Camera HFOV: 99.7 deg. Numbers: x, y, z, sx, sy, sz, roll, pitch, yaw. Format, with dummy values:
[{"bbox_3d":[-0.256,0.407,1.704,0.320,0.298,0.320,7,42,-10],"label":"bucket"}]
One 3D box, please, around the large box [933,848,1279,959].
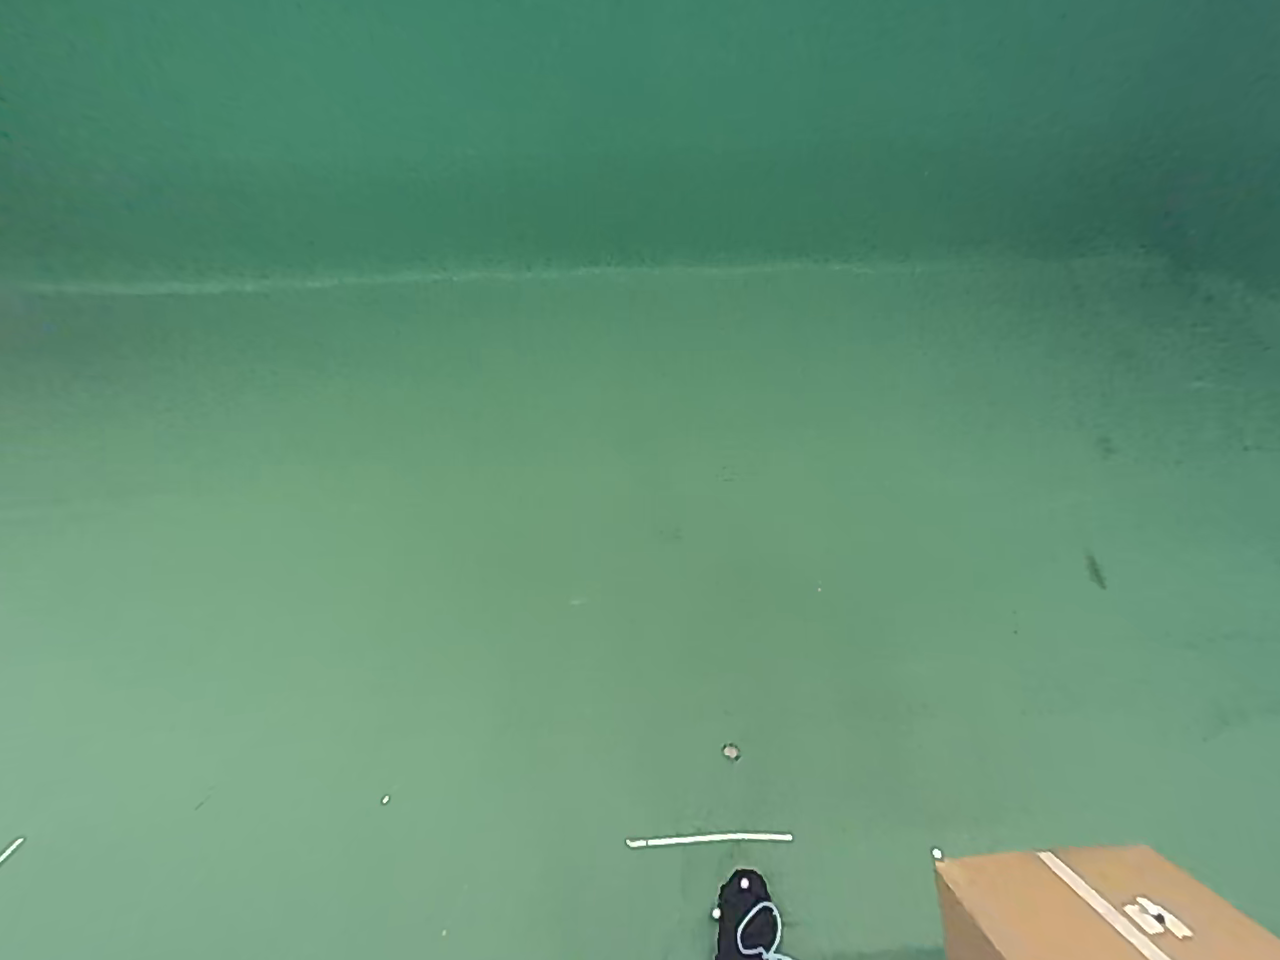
[{"bbox_3d":[0.598,0.698,0.596,0.320,0.408,0.320,-5,87,2],"label":"large box"}]
